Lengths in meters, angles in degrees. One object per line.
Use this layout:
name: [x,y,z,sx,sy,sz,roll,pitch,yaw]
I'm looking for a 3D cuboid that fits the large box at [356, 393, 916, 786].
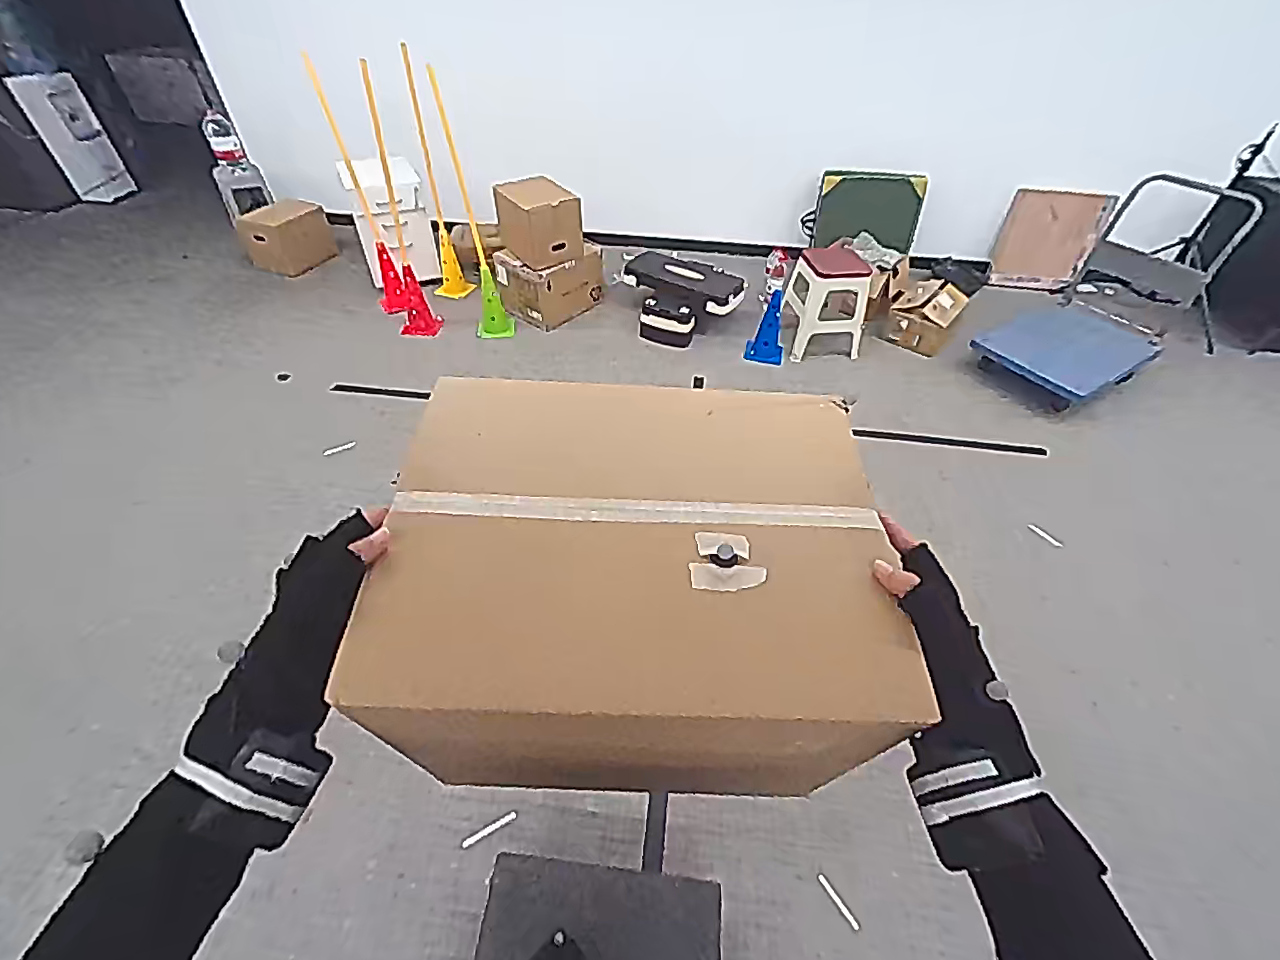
large box: [-0.007,0.129,0.584,0.408,0.320,0.320,3,52,-1]
